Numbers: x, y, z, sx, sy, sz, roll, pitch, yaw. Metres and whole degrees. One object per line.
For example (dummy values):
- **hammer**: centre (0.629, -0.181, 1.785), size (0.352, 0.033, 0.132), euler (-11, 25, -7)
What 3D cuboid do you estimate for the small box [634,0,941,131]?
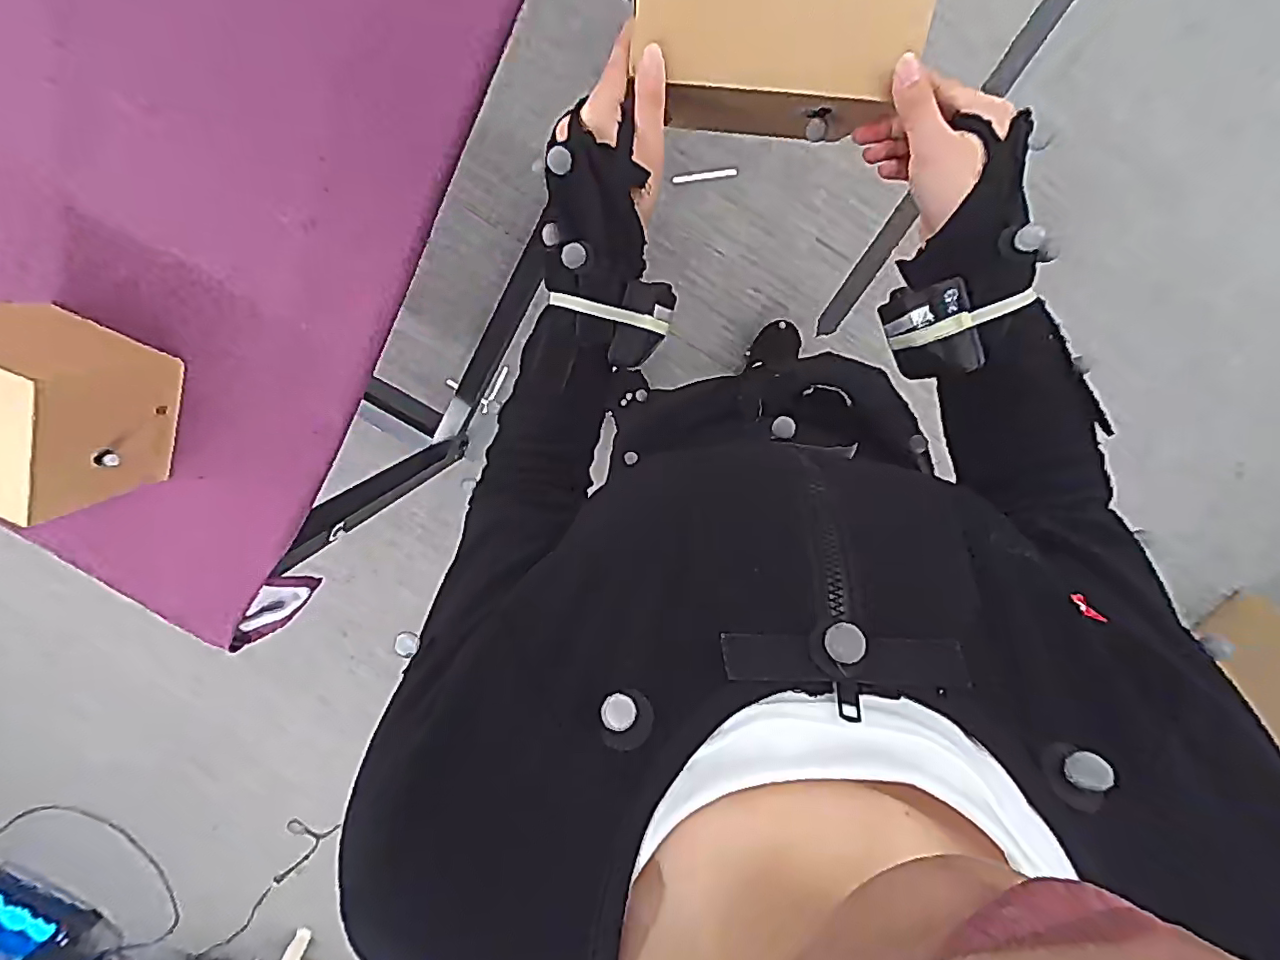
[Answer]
- **small box**: centre (0.094, -0.351, 0.367), size (0.179, 0.176, 0.168), euler (6, 115, 1)

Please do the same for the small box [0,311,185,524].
- **small box**: centre (-0.662, -0.081, 0.602), size (0.179, 0.176, 0.168), euler (23, 108, -2)
